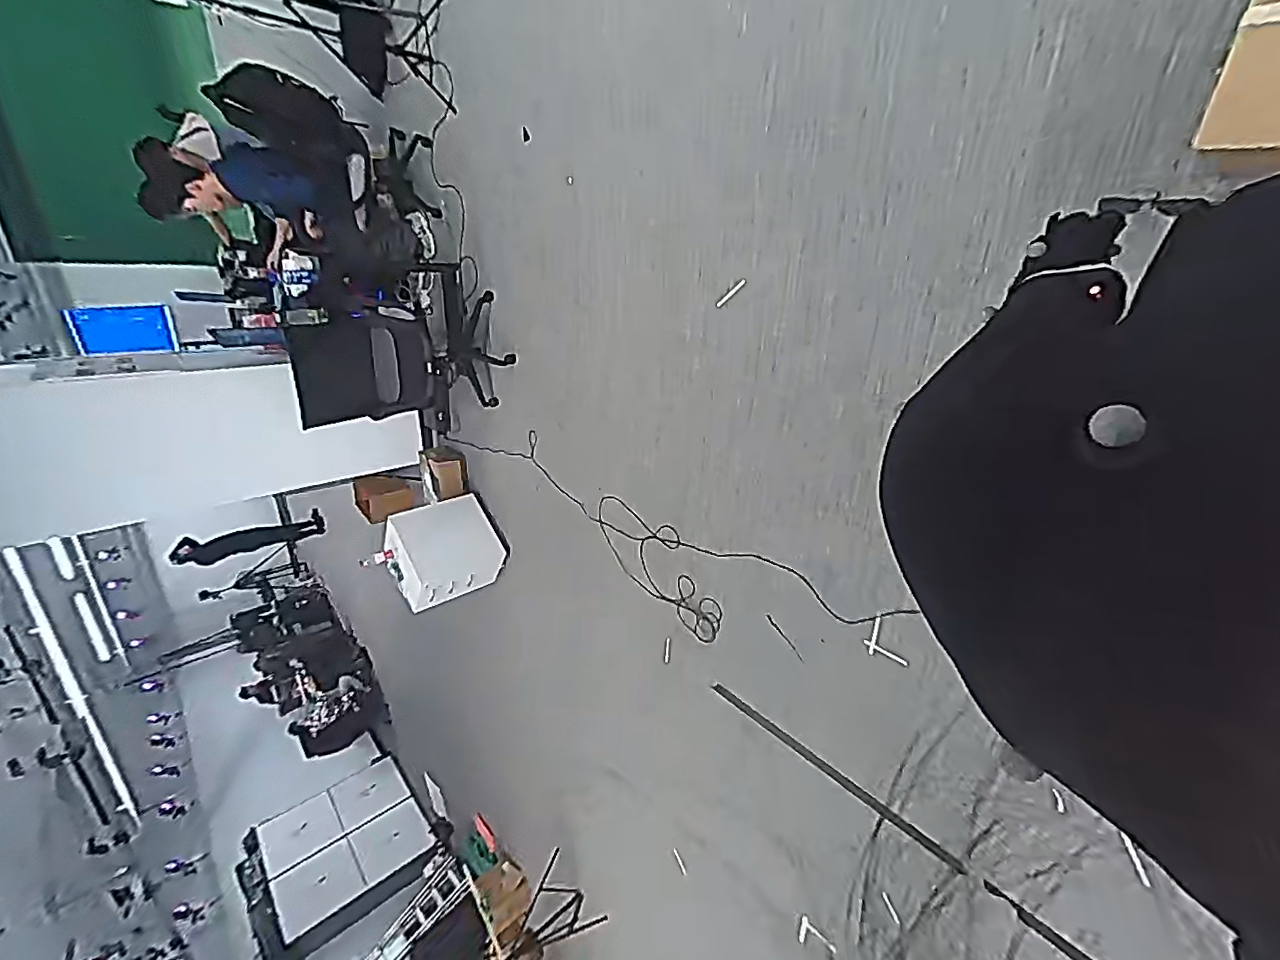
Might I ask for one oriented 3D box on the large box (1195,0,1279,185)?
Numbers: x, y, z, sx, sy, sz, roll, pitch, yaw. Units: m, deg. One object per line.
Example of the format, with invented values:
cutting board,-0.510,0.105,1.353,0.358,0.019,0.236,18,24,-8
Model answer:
large box,1.065,-0.583,0.705,0.408,0.320,0.320,27,123,40
